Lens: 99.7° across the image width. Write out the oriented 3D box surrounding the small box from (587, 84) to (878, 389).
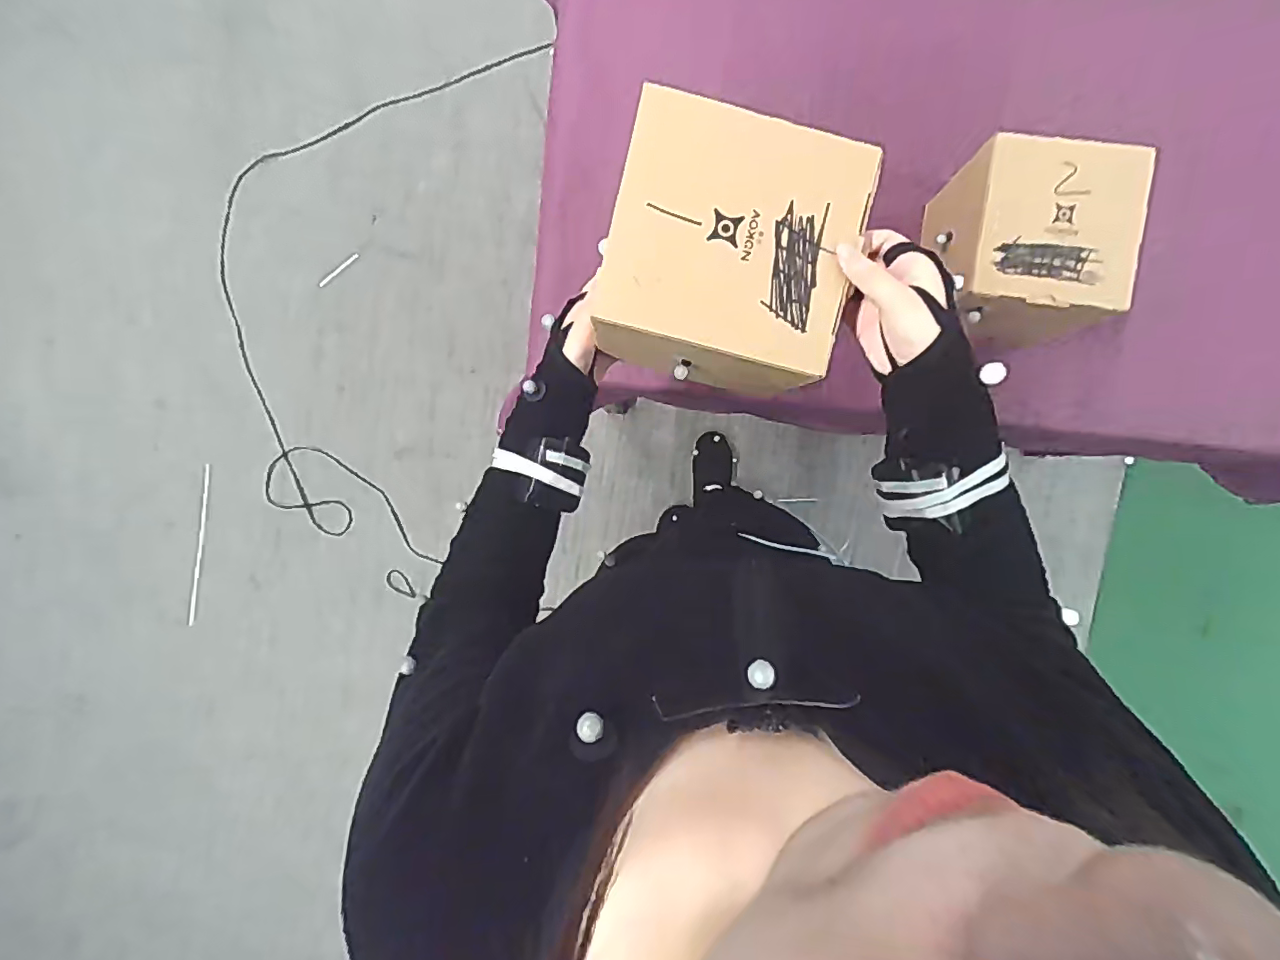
[{"bbox_3d":[0.062,-0.180,0.462,0.179,0.176,0.168,15,93,-4],"label":"small box"}]
